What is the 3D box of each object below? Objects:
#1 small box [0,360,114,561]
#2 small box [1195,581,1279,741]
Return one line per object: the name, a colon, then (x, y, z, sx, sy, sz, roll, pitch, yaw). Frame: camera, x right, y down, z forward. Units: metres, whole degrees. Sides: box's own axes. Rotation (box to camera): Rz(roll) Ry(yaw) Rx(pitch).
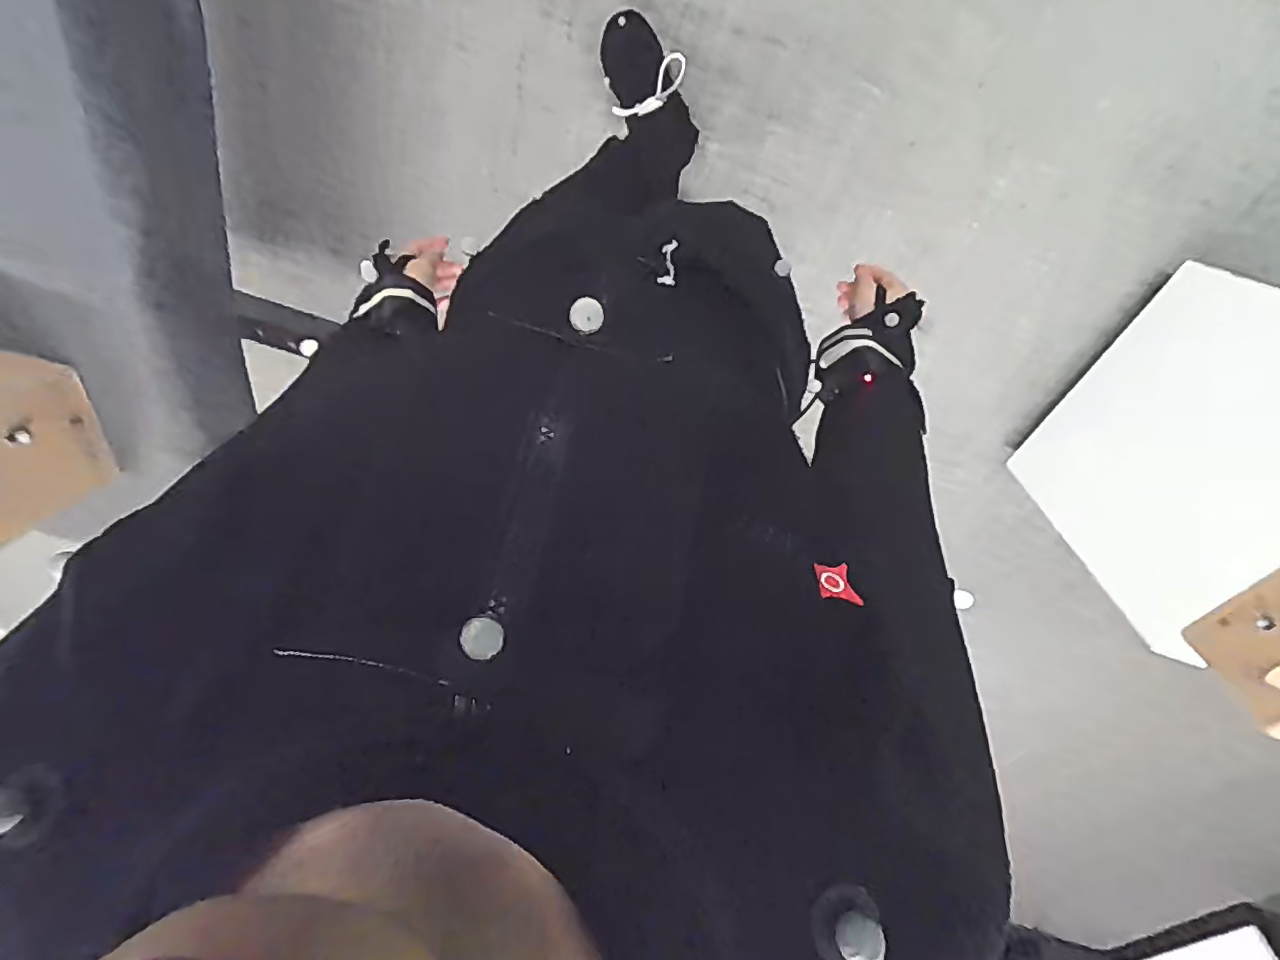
small box: (-0.781, -0.034, 0.632, 0.179, 0.176, 0.168, 14, 123, 1)
small box: (0.938, 0.257, 0.725, 0.179, 0.176, 0.168, 19, 124, -5)
